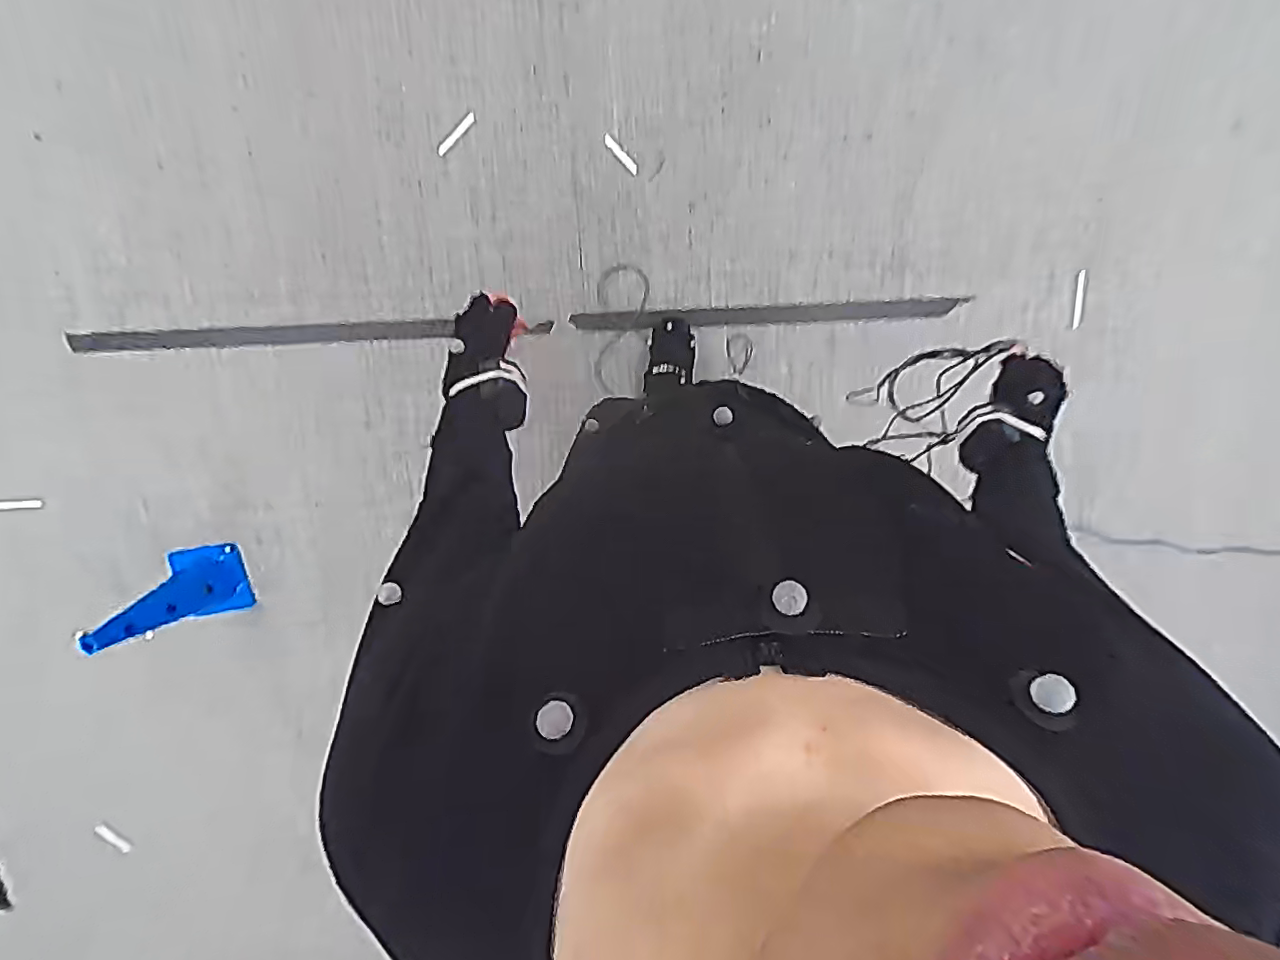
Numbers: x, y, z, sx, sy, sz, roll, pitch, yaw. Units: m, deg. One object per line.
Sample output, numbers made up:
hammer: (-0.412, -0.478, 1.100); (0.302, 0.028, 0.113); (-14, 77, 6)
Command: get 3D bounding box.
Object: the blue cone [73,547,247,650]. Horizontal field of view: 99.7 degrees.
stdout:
blue cone: (-1.200, 0.321, 1.342); (0.193, 0.380, 0.192); (-8, 102, 1)
